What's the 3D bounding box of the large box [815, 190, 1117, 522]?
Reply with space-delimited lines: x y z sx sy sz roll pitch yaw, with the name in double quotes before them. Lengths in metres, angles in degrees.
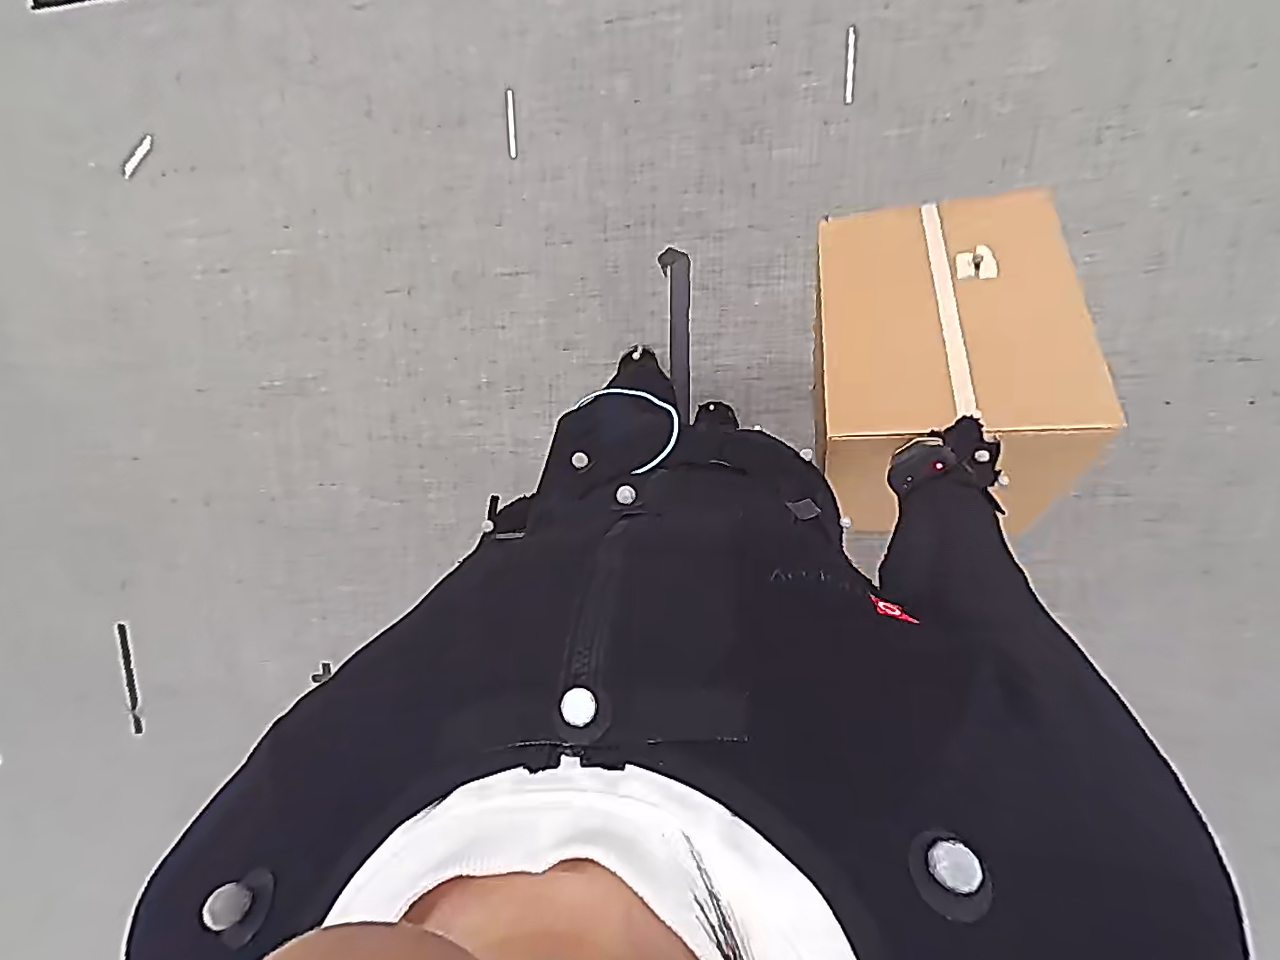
"large box" 0.452 -0.174 0.865 0.320 0.320 0.408 -1 63 15
